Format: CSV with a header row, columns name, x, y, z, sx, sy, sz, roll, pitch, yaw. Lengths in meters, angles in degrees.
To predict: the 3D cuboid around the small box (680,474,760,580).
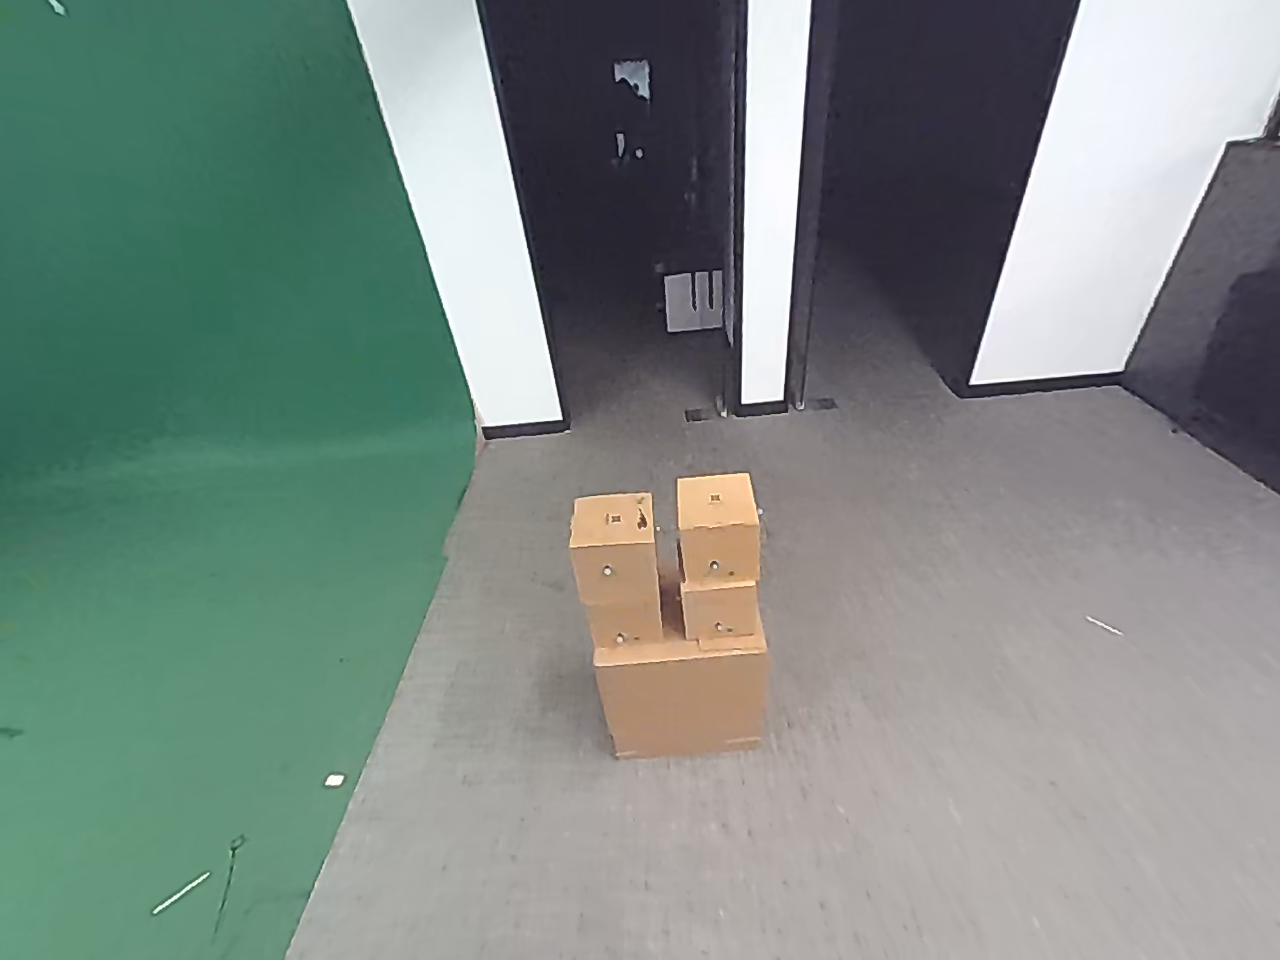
name,x,y,z,sx,sy,sz,roll,pitch,yaw
small box,0.177,0.106,1.225,0.168,0.176,0.179,-4,36,6
